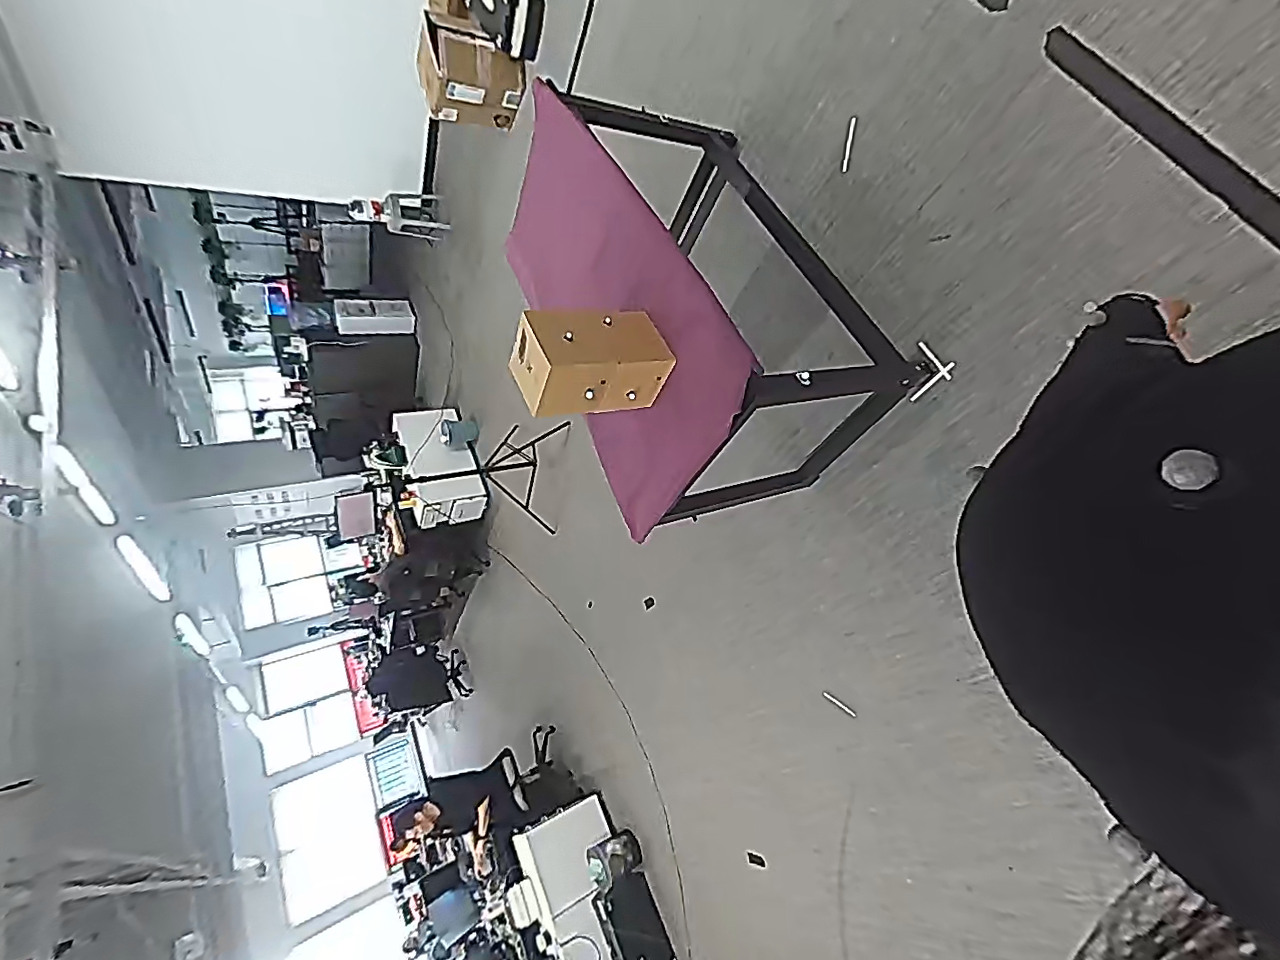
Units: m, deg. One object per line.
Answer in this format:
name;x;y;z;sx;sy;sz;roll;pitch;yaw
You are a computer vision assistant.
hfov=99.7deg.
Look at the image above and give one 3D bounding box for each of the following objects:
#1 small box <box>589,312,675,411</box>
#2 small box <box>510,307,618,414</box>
small box;-0.041;-0.295;1.328;0.179;0.176;0.168;62;144;25
small box;-0.176;-0.272;1.237;0.179;0.176;0.168;61;144;25
